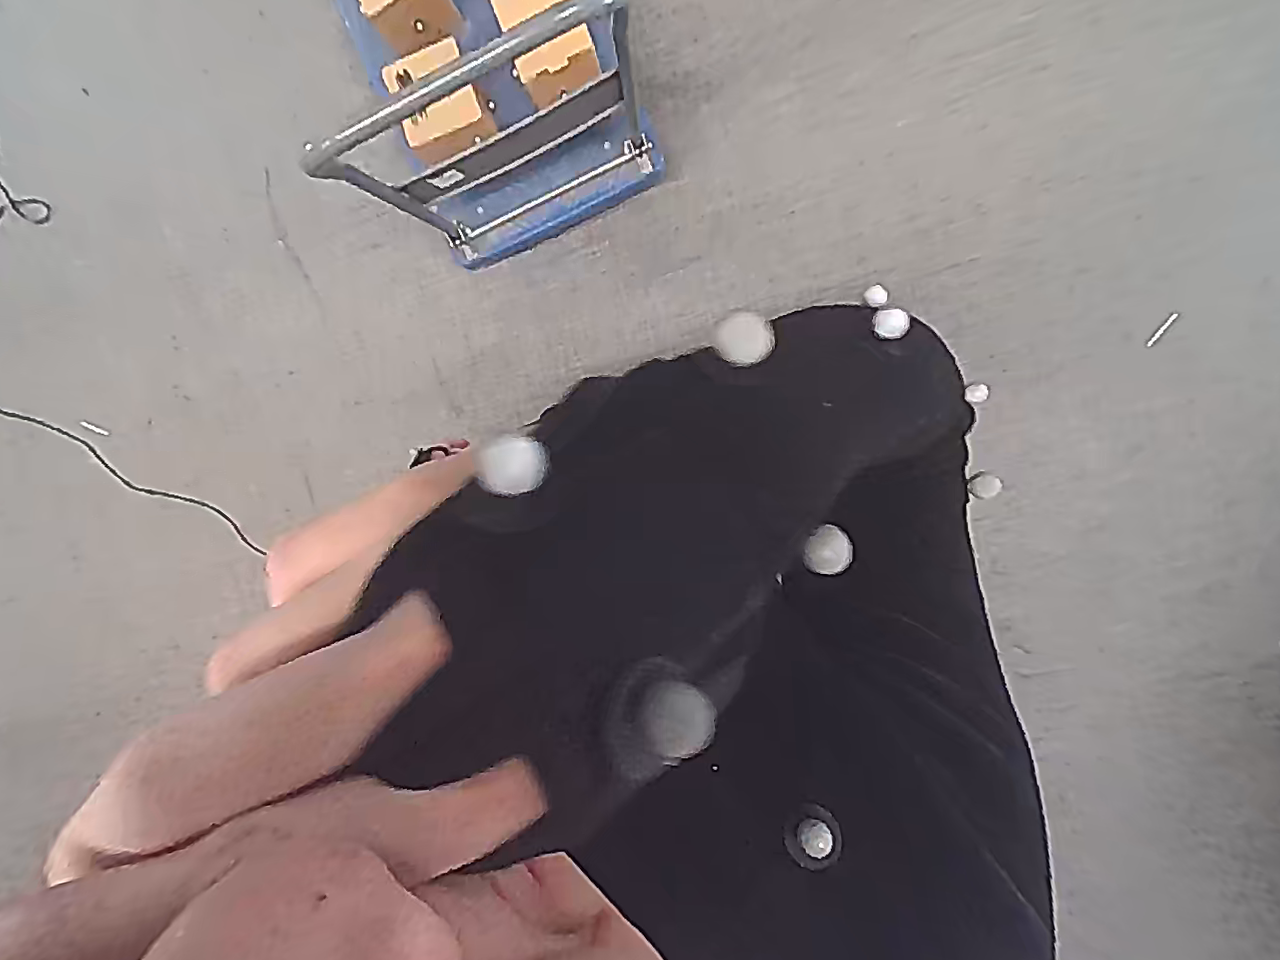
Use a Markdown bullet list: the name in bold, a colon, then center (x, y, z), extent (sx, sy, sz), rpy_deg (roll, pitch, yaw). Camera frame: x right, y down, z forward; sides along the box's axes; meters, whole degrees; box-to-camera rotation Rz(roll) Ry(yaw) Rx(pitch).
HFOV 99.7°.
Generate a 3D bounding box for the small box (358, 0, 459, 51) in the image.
- **small box**: center (-0.527, -1.088, 1.177), extent (0.168, 0.176, 0.179), rpy_deg (-25, 99, 8)

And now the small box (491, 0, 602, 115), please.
- **small box**: center (-0.197, -0.952, 1.181), extent (0.168, 0.176, 0.179), rpy_deg (-21, 100, 8)
